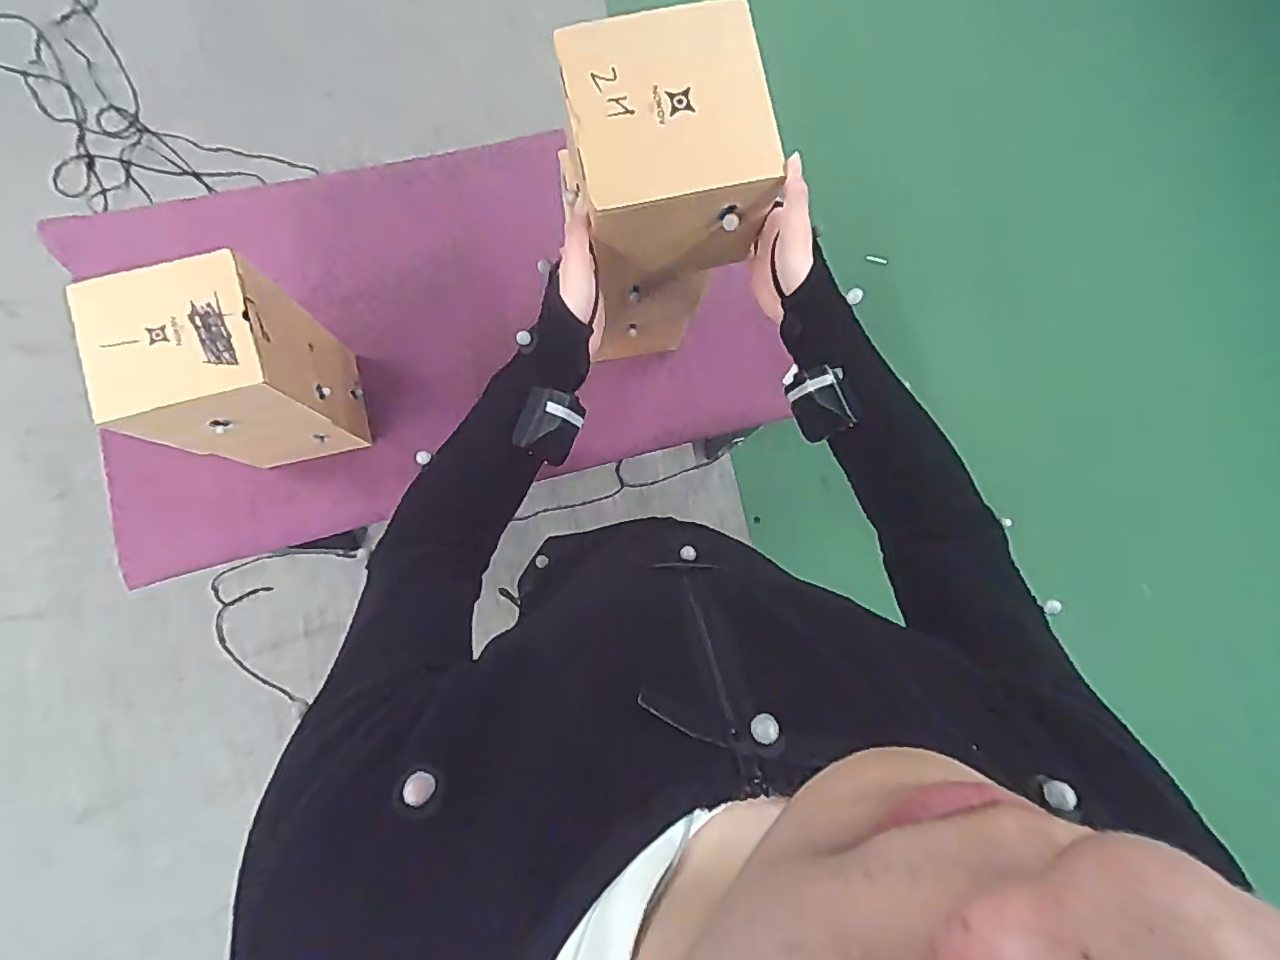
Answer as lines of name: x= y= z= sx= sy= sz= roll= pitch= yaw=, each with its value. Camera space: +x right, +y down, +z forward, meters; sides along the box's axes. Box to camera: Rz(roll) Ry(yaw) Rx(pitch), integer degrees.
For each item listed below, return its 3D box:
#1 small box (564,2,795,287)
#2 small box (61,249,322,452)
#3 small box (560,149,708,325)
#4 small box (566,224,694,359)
small box: x=0.029 y=-0.315 z=0.541 sx=0.179 sy=0.176 sz=0.168 roll=-13 pitch=88 yaw=-3
small box: x=-0.516 y=-0.144 z=0.654 sx=0.179 sy=0.176 sz=0.168 roll=-17 pitch=84 yaw=-8
small box: x=-0.005 y=-0.326 z=0.737 sx=0.179 sy=0.176 sz=0.168 roll=-10 pitch=84 yaw=-6
small box: x=-0.023 y=-0.314 z=0.900 sx=0.179 sy=0.176 sz=0.168 roll=-10 pitch=83 yaw=-6
